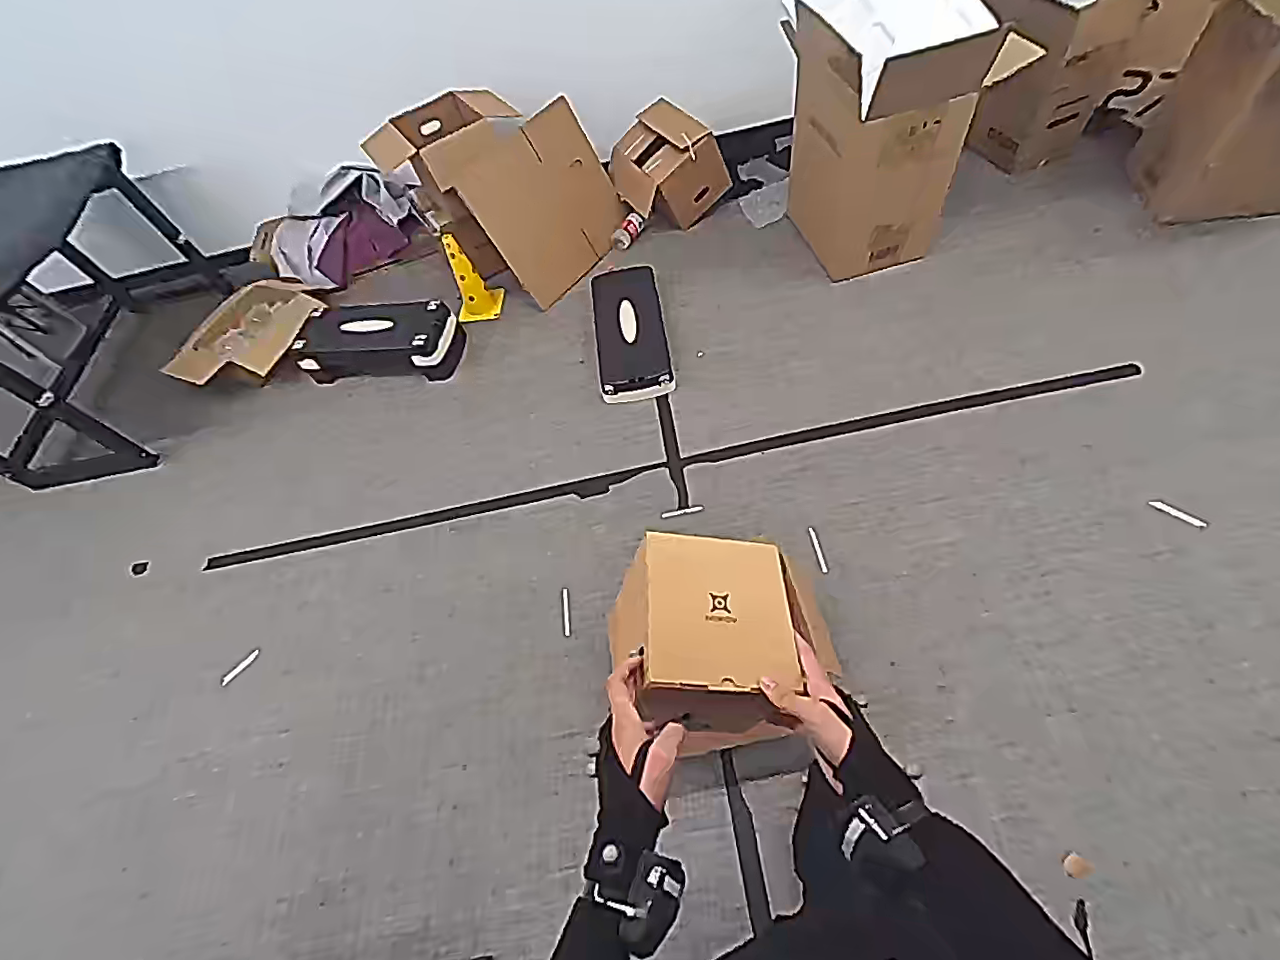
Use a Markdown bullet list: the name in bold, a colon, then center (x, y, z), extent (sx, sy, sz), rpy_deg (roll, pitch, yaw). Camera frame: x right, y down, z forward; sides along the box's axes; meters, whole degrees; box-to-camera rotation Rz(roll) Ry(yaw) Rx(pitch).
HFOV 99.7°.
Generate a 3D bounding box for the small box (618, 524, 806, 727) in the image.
- **small box**: center (0.070, 0.177, 0.641), extent (0.168, 0.176, 0.179), rpy_deg (7, 52, -11)
